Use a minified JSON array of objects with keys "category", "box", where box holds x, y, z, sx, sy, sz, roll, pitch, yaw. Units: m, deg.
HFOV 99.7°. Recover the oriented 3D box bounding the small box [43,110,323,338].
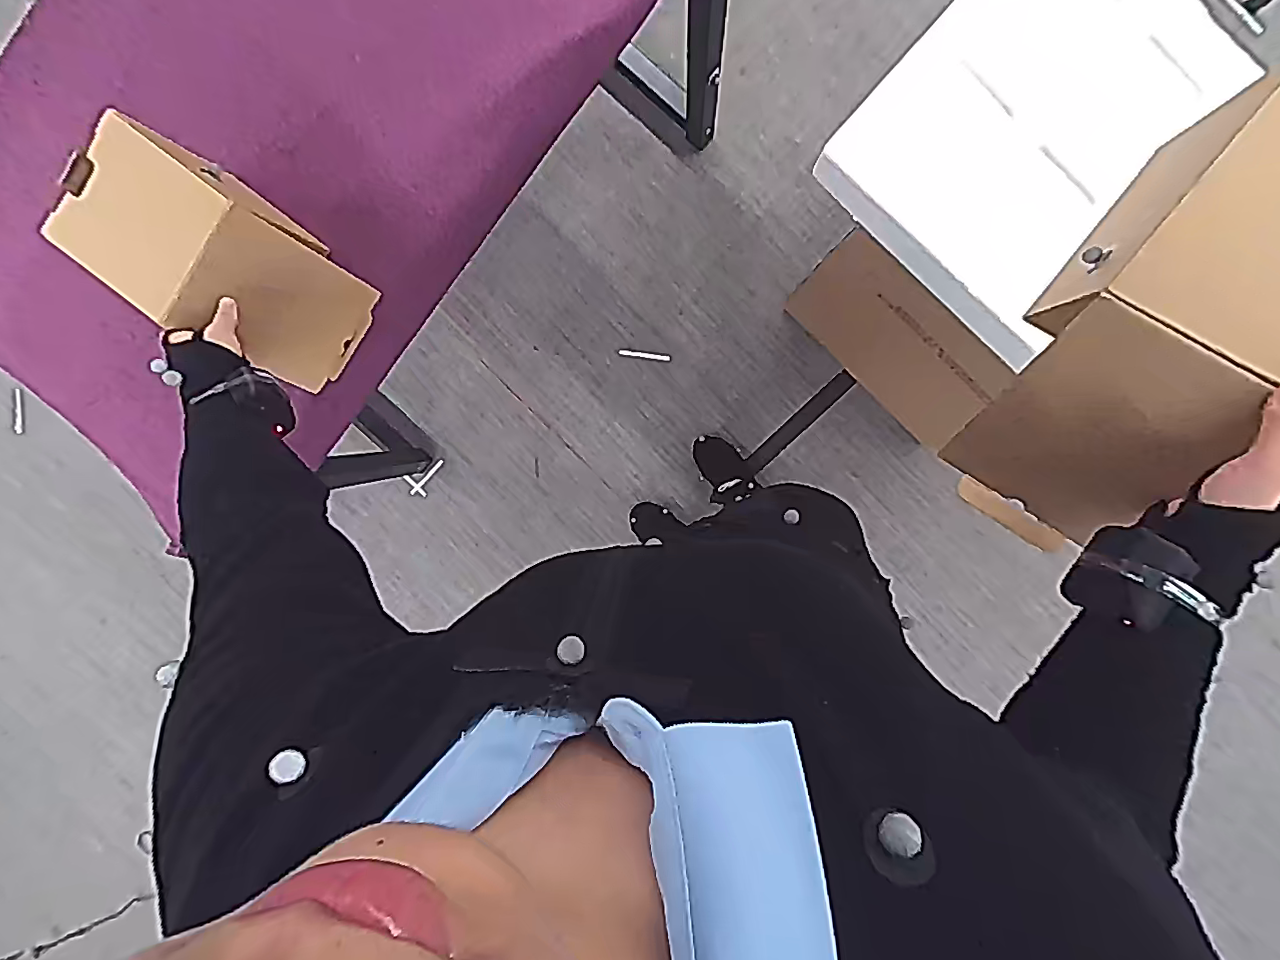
[{"category":"small box","box":[-0.550,-0.298,0.678,0.179,0.176,0.168,38,96,2]}]
